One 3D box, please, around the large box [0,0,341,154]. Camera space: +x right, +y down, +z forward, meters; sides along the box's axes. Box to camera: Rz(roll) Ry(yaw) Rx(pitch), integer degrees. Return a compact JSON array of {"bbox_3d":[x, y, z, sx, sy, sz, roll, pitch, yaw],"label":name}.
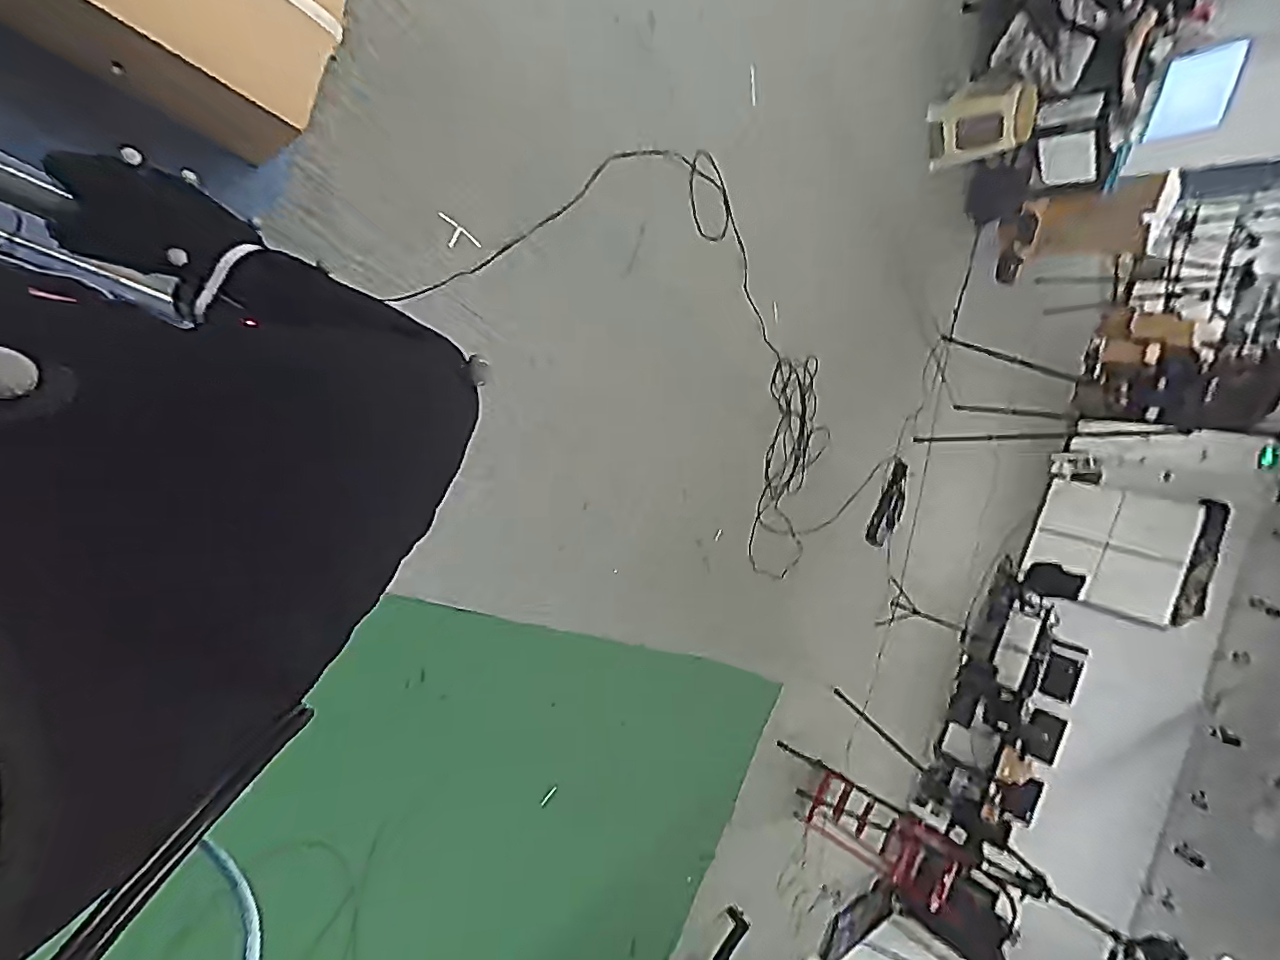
[{"bbox_3d":[-0.689,-0.750,0.771,0.408,0.320,0.320,17,92,-45],"label":"large box"}]
